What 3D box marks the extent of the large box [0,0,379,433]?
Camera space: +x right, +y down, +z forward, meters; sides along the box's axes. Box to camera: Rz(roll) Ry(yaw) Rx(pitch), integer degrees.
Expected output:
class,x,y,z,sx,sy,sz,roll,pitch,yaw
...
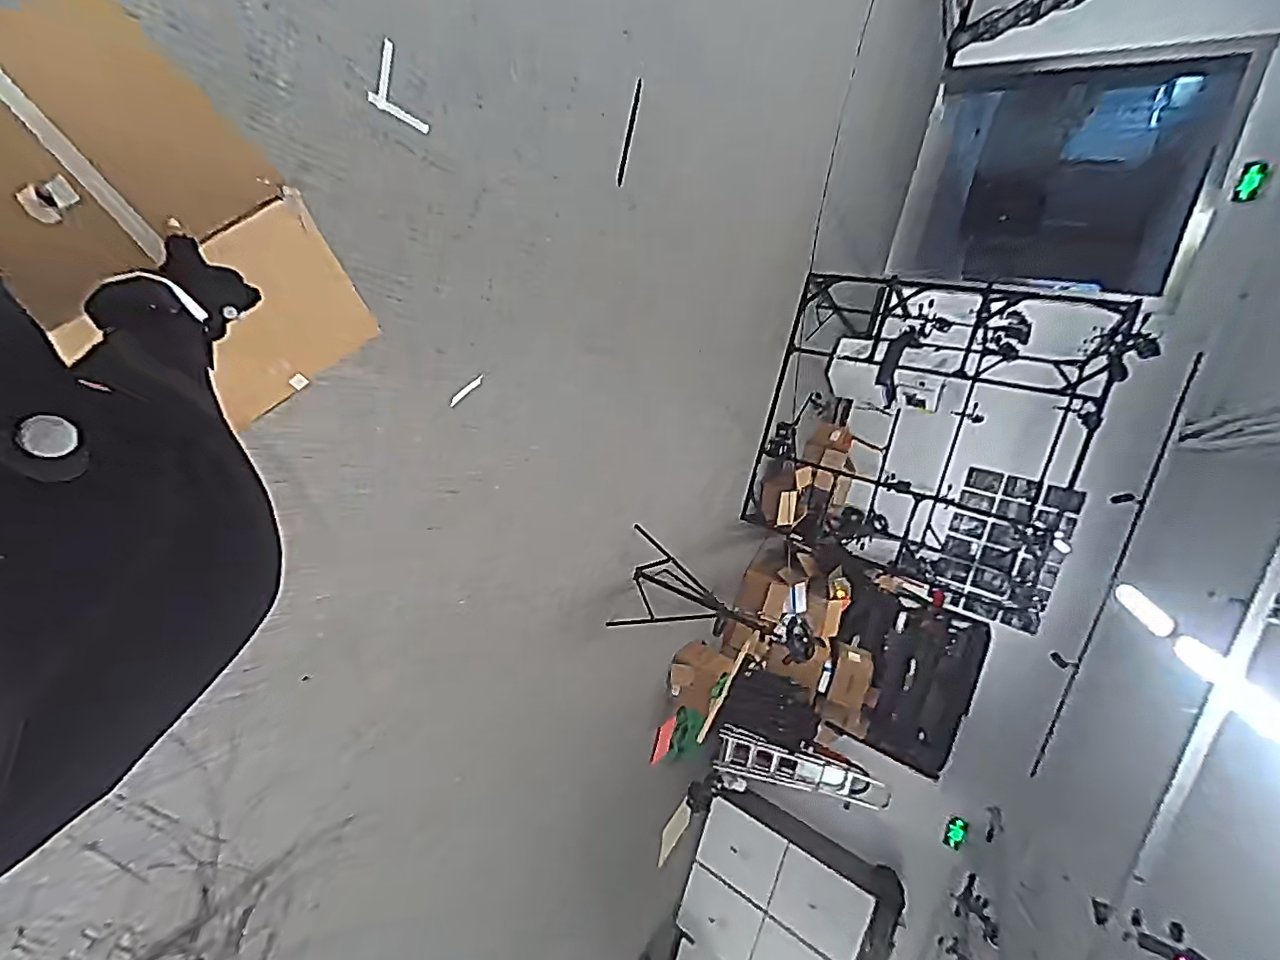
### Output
class,x,y,z,sx,sy,sz,roll,pitch,yaw
large box,-0.662,-0.342,0.755,0.320,0.408,0.320,-43,175,-15
